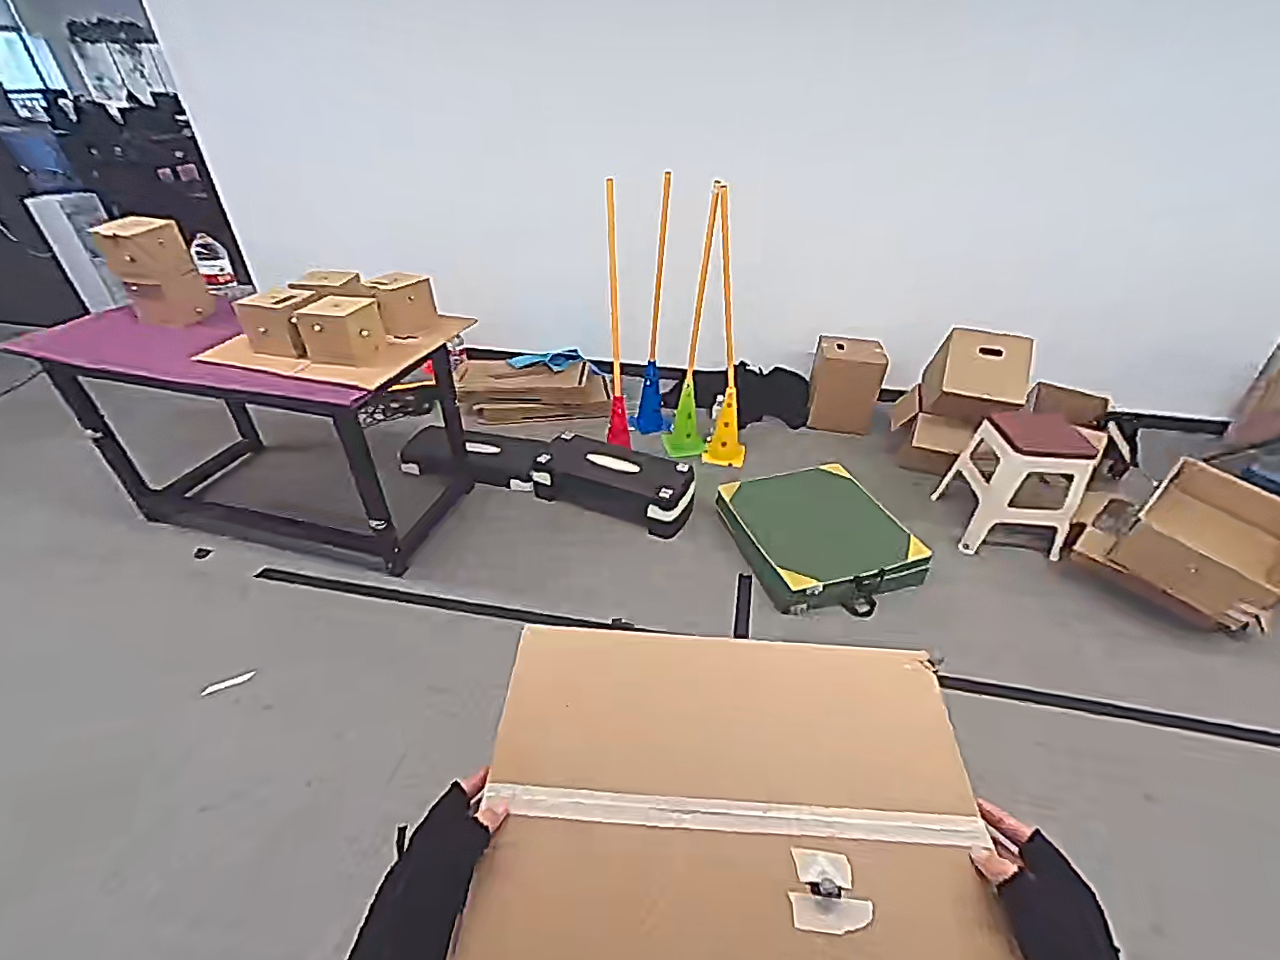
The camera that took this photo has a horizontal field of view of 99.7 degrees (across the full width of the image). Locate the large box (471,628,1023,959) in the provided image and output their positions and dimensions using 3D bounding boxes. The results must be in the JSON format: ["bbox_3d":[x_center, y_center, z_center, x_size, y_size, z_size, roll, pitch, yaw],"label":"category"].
[{"bbox_3d":[0.078,0.376,0.560,0.408,0.320,0.320,4,47,1],"label":"large box"}]
